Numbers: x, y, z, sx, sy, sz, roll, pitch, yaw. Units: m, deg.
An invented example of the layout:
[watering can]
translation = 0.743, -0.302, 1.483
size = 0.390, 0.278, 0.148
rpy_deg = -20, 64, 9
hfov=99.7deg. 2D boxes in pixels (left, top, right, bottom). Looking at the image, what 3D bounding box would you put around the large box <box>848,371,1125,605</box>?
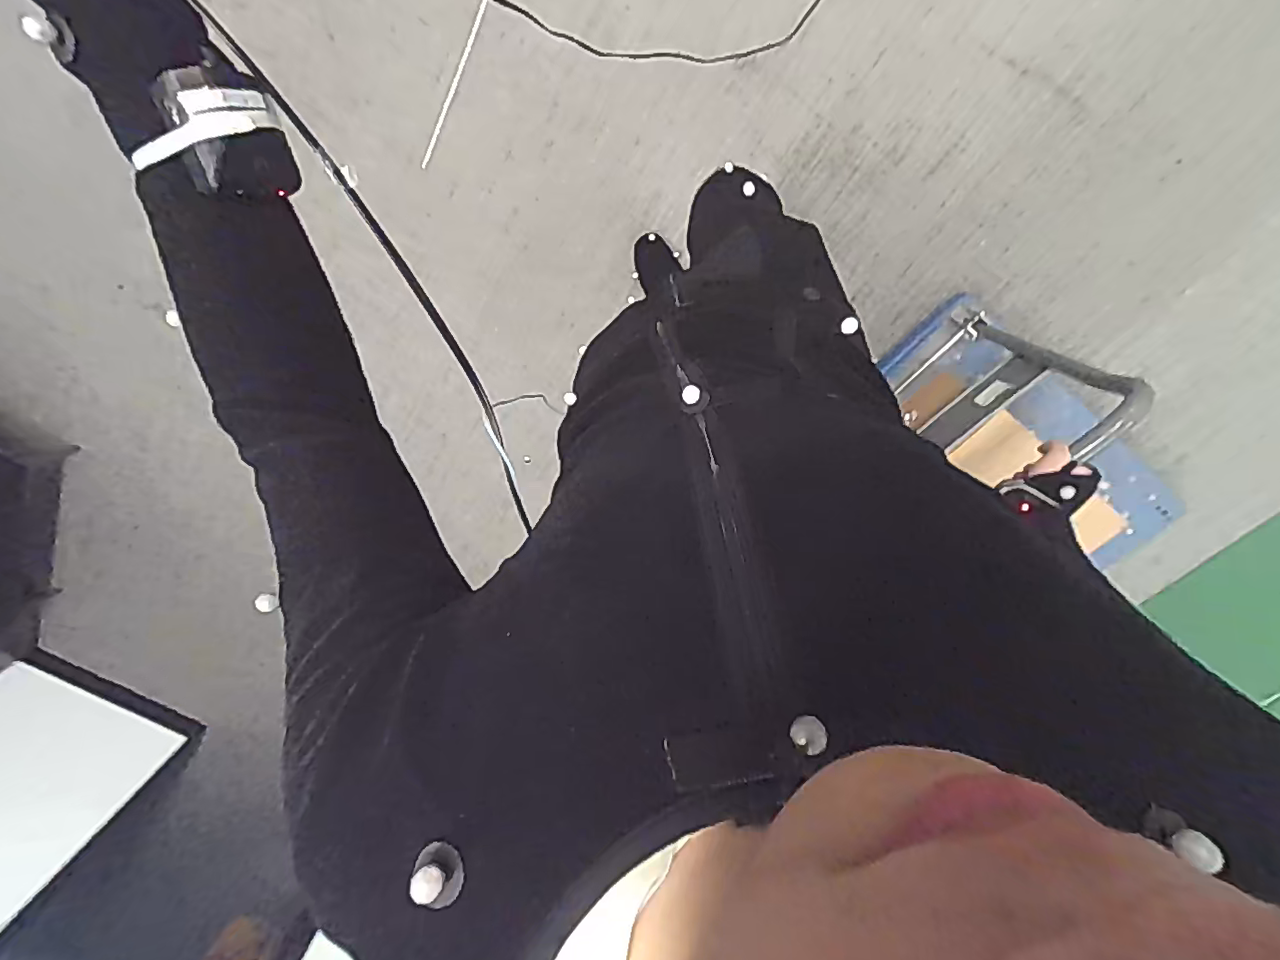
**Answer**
[large box]
translation = 0.778, 0.007, 1.281
size = 0.408, 0.320, 0.320
rpy_deg = 36, 115, -11
